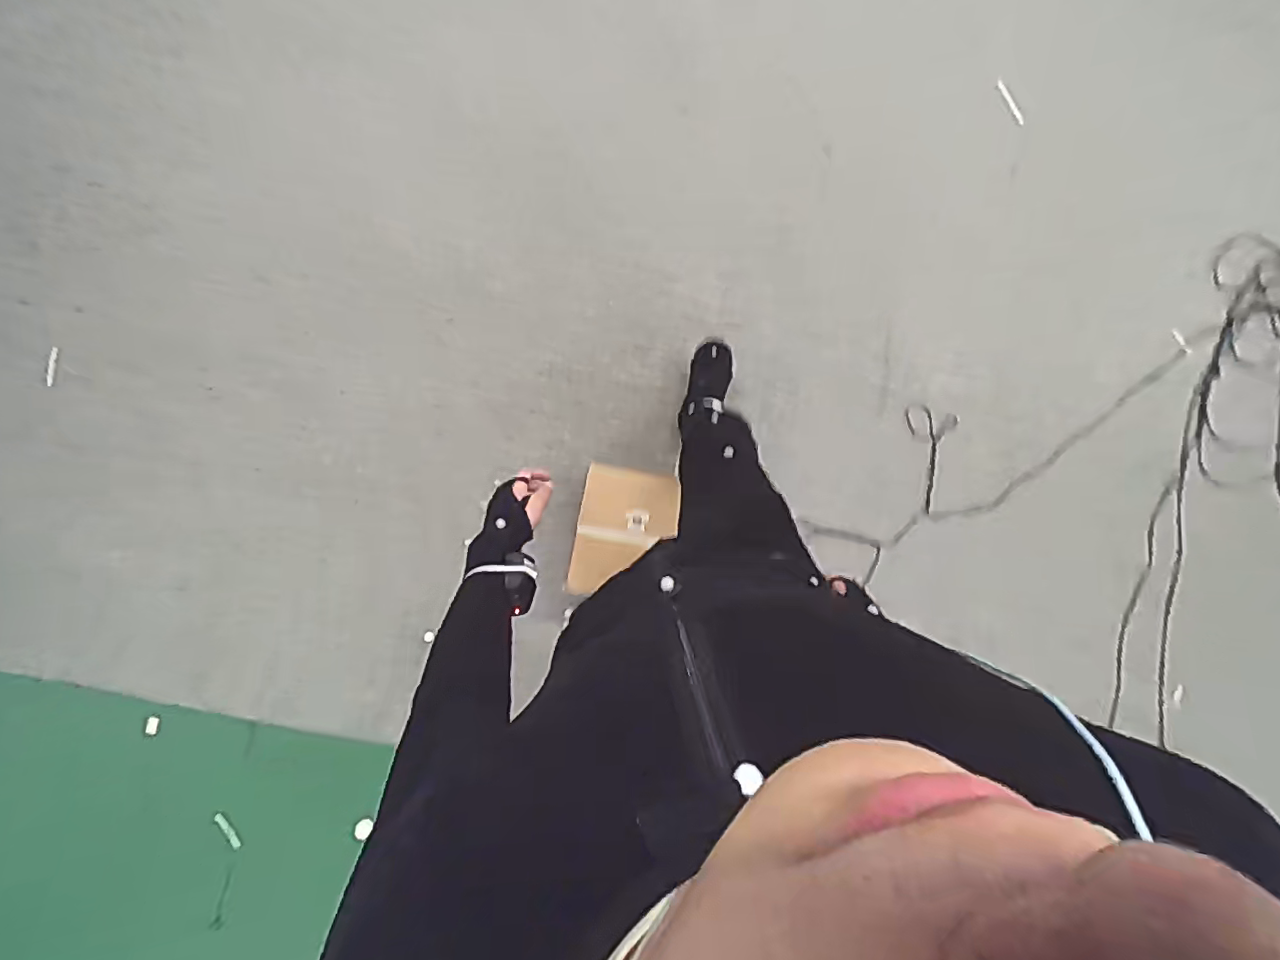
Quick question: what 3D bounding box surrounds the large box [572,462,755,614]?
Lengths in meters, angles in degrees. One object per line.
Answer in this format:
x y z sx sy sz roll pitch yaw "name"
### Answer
0.055 0.136 1.439 0.408 0.320 0.320 10 92 -2 "large box"
